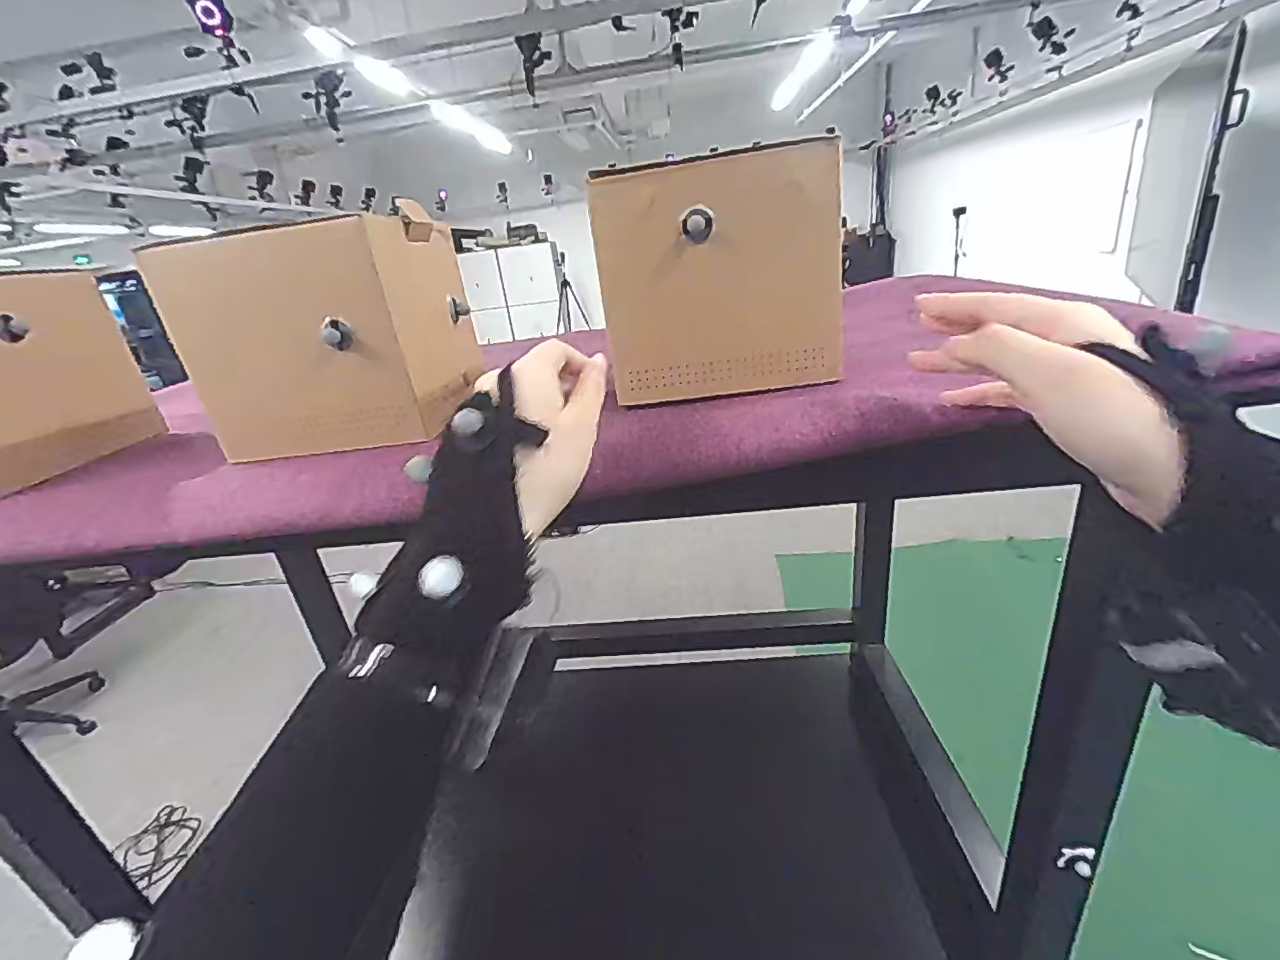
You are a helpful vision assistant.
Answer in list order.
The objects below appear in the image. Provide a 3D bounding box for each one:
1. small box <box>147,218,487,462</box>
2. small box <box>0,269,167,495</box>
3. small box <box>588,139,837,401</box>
[{"bbox_3d":[-0.255,-0.127,0.483,0.179,0.176,0.168,-7,22,5],"label":"small box"},{"bbox_3d":[-0.595,-0.086,0.486,0.168,0.176,0.179,-5,23,3],"label":"small box"},{"bbox_3d":[0.066,-0.170,0.474,0.179,0.176,0.168,-5,20,7],"label":"small box"}]
